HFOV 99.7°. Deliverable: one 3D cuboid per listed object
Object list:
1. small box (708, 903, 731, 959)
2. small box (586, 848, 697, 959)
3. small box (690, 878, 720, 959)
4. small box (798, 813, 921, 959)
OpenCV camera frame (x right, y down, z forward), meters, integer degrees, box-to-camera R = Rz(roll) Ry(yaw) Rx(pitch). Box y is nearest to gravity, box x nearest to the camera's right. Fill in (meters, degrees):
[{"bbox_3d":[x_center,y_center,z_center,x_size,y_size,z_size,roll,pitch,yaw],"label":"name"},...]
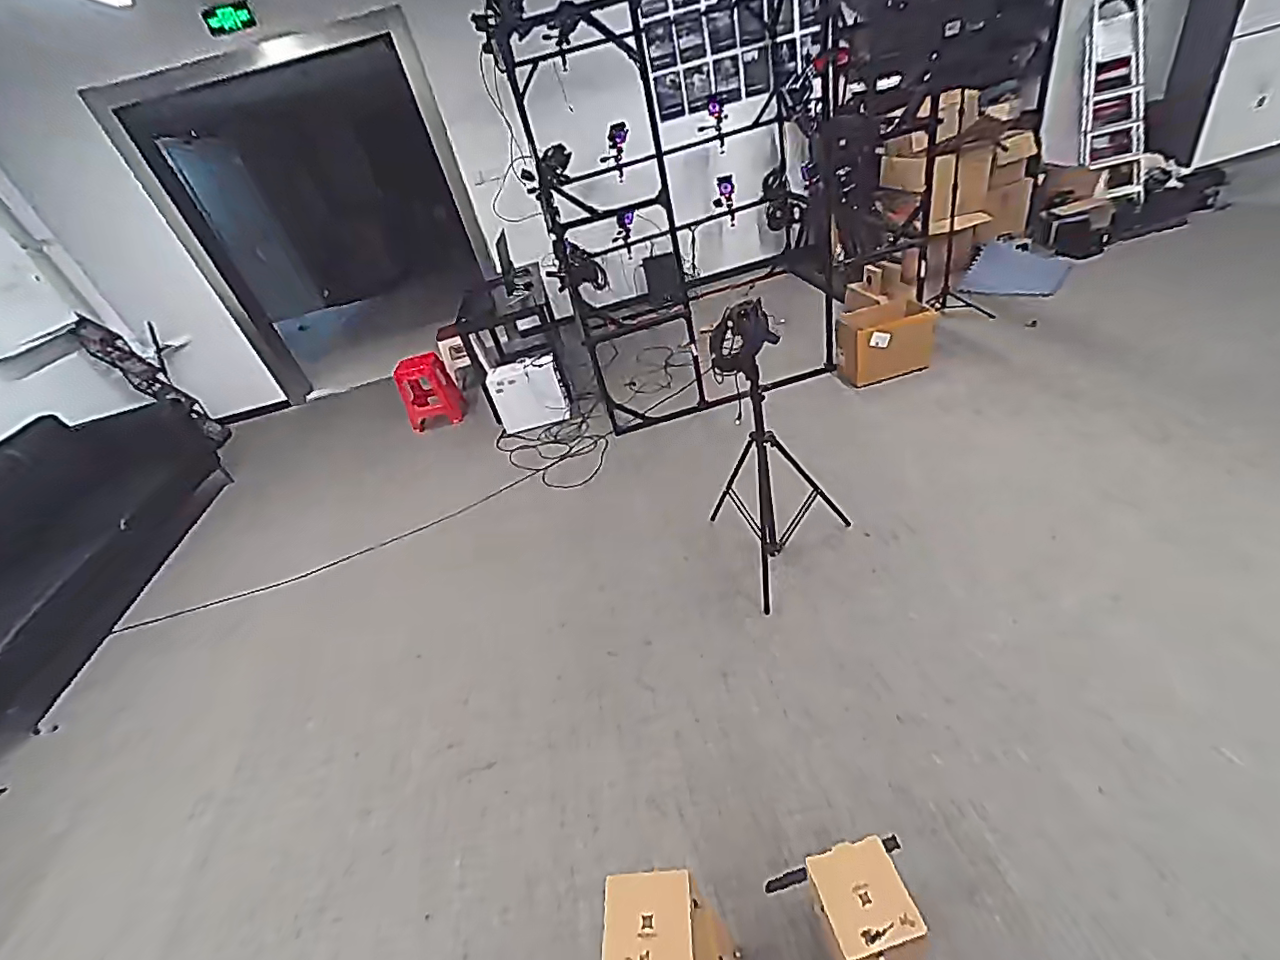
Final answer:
[{"bbox_3d":[0.113,1.063,1.166,0.168,0.176,0.179,-16,35,1],"label":"small box"},{"bbox_3d":[0.008,0.809,0.989,0.168,0.176,0.179,-11,36,9],"label":"small box"},{"bbox_3d":[0.065,0.938,1.076,0.168,0.176,0.179,-15,36,4],"label":"small box"},{"bbox_3d":[0.432,0.820,1.088,0.168,0.176,0.179,-17,35,-3],"label":"small box"}]
